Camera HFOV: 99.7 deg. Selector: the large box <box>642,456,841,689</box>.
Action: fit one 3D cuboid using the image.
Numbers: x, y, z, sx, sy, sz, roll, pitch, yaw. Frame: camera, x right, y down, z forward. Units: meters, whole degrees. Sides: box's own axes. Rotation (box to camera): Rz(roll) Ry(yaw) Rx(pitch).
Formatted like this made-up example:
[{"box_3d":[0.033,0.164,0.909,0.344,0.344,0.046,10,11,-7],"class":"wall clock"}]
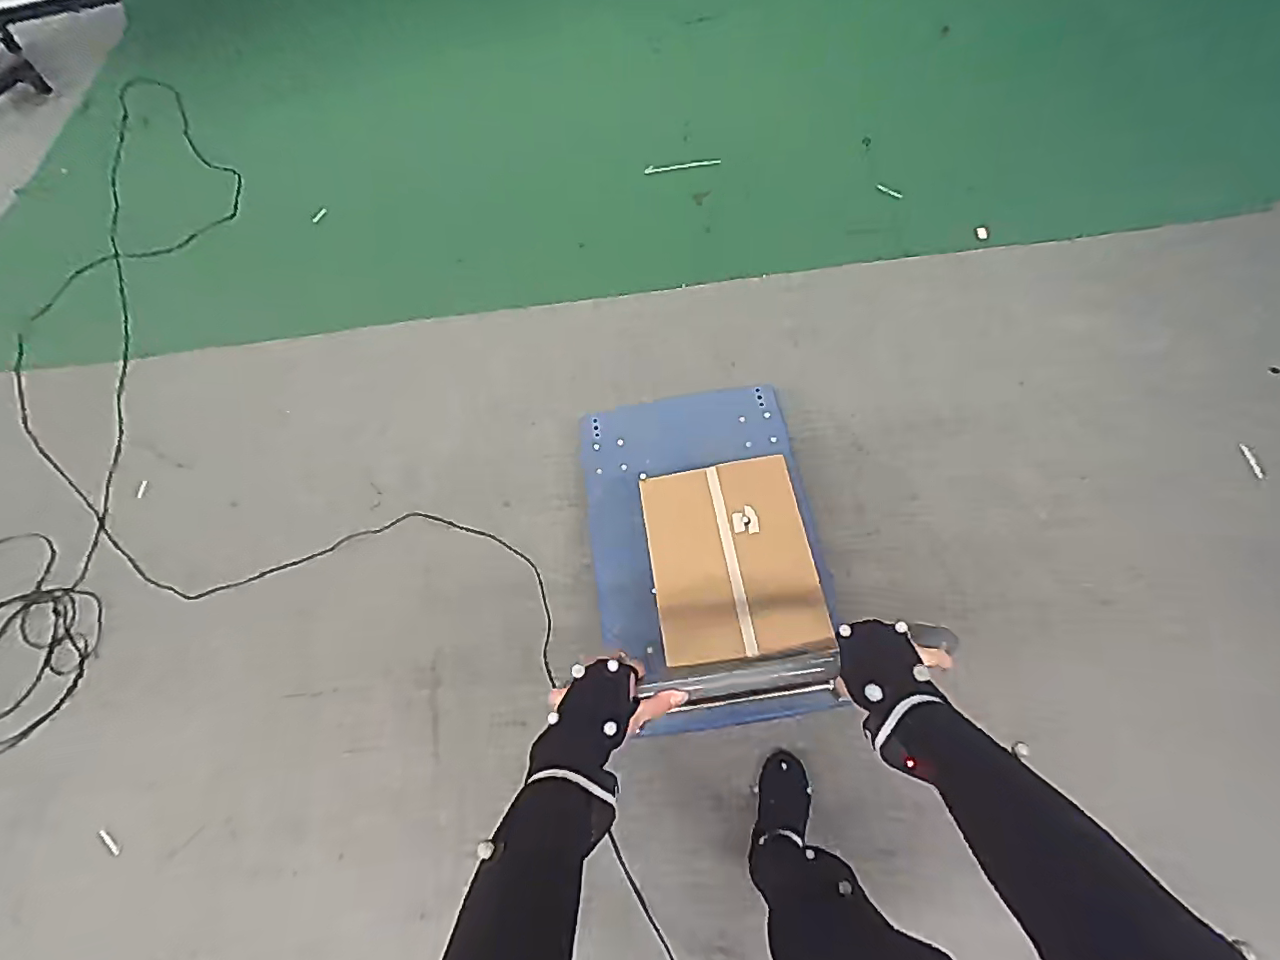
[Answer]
[{"box_3d":[0.204,0.215,1.193,0.320,0.320,0.408,-11,63,3],"class":"large box"}]
